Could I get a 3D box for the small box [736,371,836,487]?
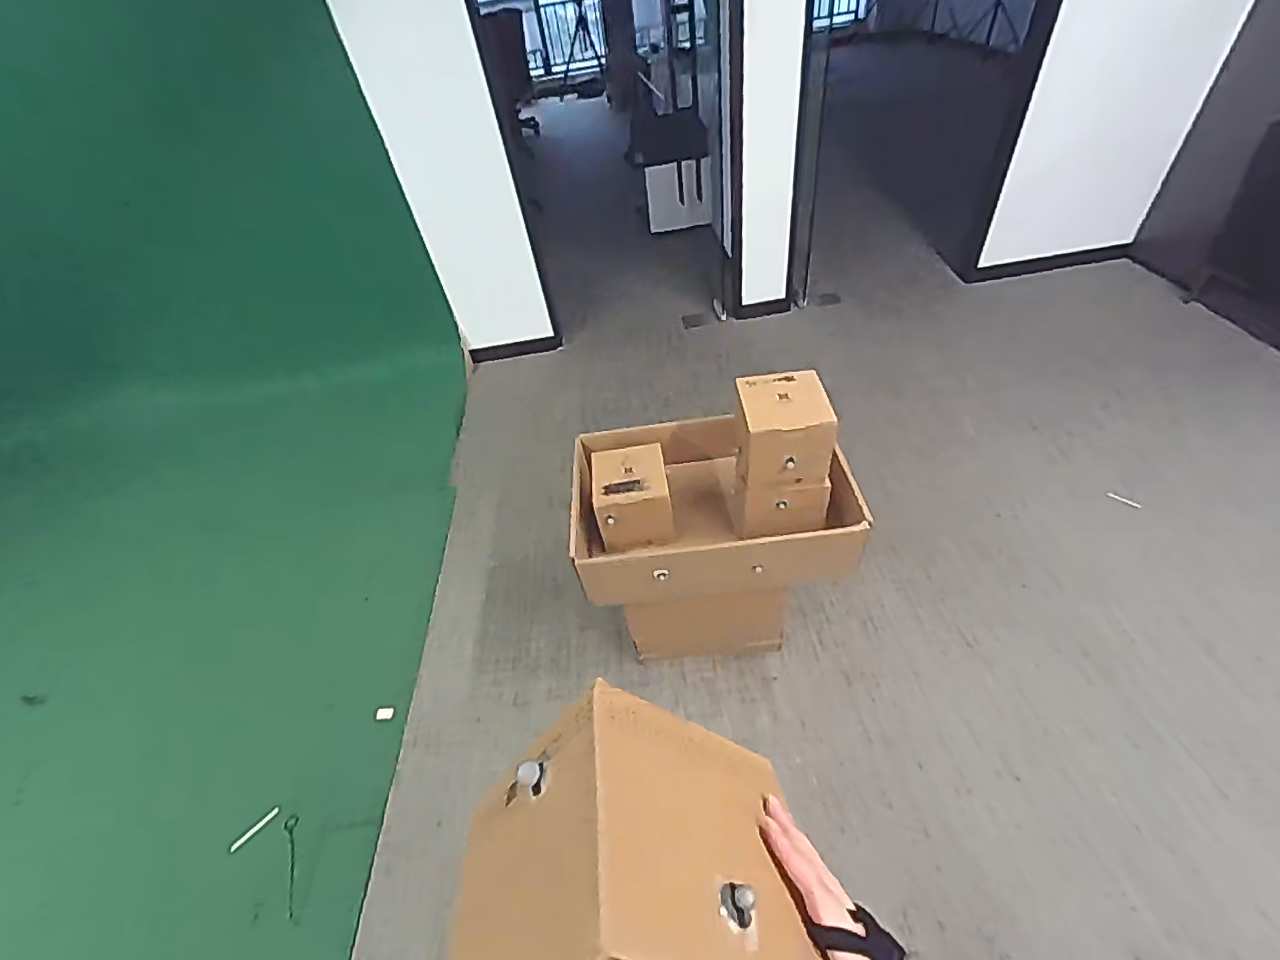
[{"bbox_3d":[0.294,-0.099,1.120,0.168,0.176,0.179,-6,46,4],"label":"small box"}]
